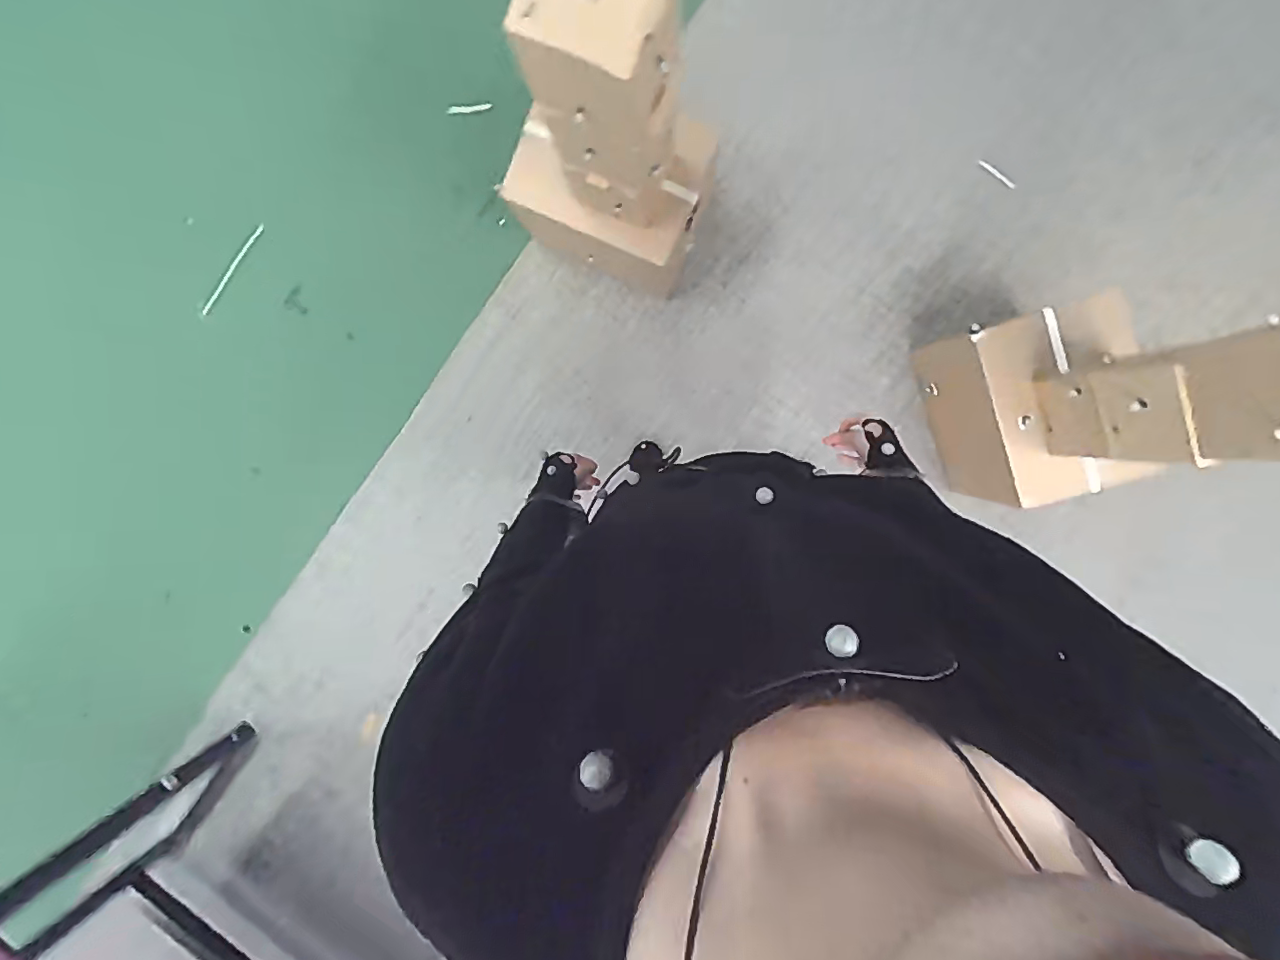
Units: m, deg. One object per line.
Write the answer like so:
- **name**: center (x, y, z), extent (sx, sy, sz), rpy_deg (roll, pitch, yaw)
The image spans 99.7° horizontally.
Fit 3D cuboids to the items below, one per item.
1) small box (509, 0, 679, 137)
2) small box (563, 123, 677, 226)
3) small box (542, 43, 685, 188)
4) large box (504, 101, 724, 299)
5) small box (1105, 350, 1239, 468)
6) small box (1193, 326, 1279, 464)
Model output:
- **small box**: center (-0.052, -0.615, 0.745), extent (0.179, 0.176, 0.168), rpy_deg (24, 96, -2)
- **small box**: center (-0.030, -0.638, 1.070), extent (0.168, 0.176, 0.179), rpy_deg (25, 96, 1)
- **small box**: center (-0.036, -0.625, 0.907), extent (0.179, 0.176, 0.168), rpy_deg (24, 96, 2)
- **large box**: center (-0.046, -0.688, 1.312), extent (0.408, 0.320, 0.320), rpy_deg (25, 95, 3)
- **small box**: center (0.914, -0.122, 0.884), extent (0.179, 0.176, 0.168), rpy_deg (-17, 93, 3)
- **small box**: center (0.908, -0.122, 0.718), extent (0.168, 0.176, 0.179), rpy_deg (-15, 93, 3)
